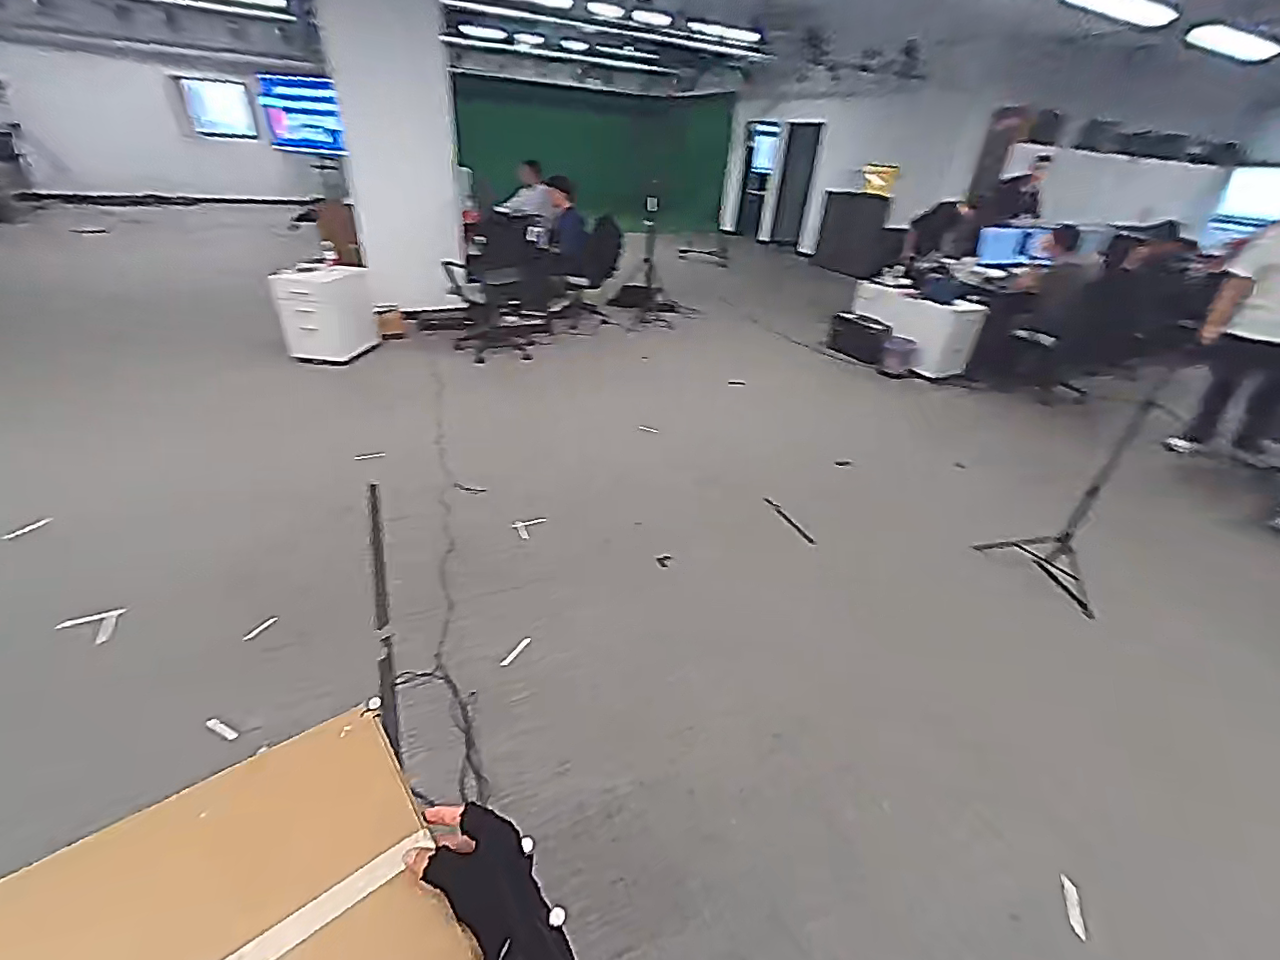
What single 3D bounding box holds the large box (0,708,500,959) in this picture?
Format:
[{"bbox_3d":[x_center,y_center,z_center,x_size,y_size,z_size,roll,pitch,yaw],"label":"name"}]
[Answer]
[{"bbox_3d":[-0.358,0.492,0.452,0.408,0.320,0.320,-18,47,-37],"label":"large box"}]
